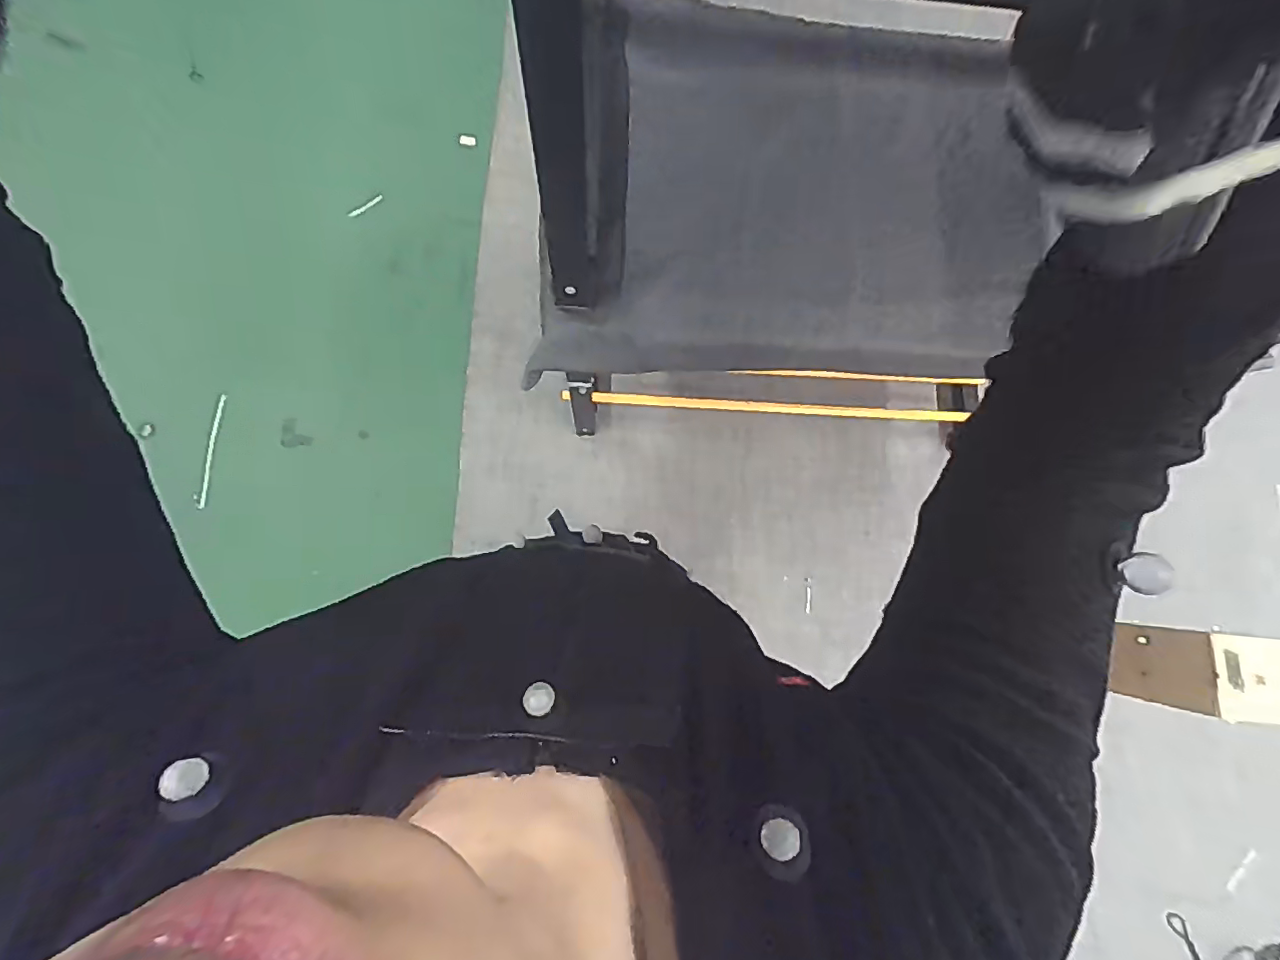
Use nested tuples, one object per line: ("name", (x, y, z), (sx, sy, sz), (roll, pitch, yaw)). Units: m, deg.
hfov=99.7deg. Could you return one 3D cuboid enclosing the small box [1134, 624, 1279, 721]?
("small box", (1.206, 0.403, 1.154), (0.179, 0.176, 0.168), (6, 81, -4))
